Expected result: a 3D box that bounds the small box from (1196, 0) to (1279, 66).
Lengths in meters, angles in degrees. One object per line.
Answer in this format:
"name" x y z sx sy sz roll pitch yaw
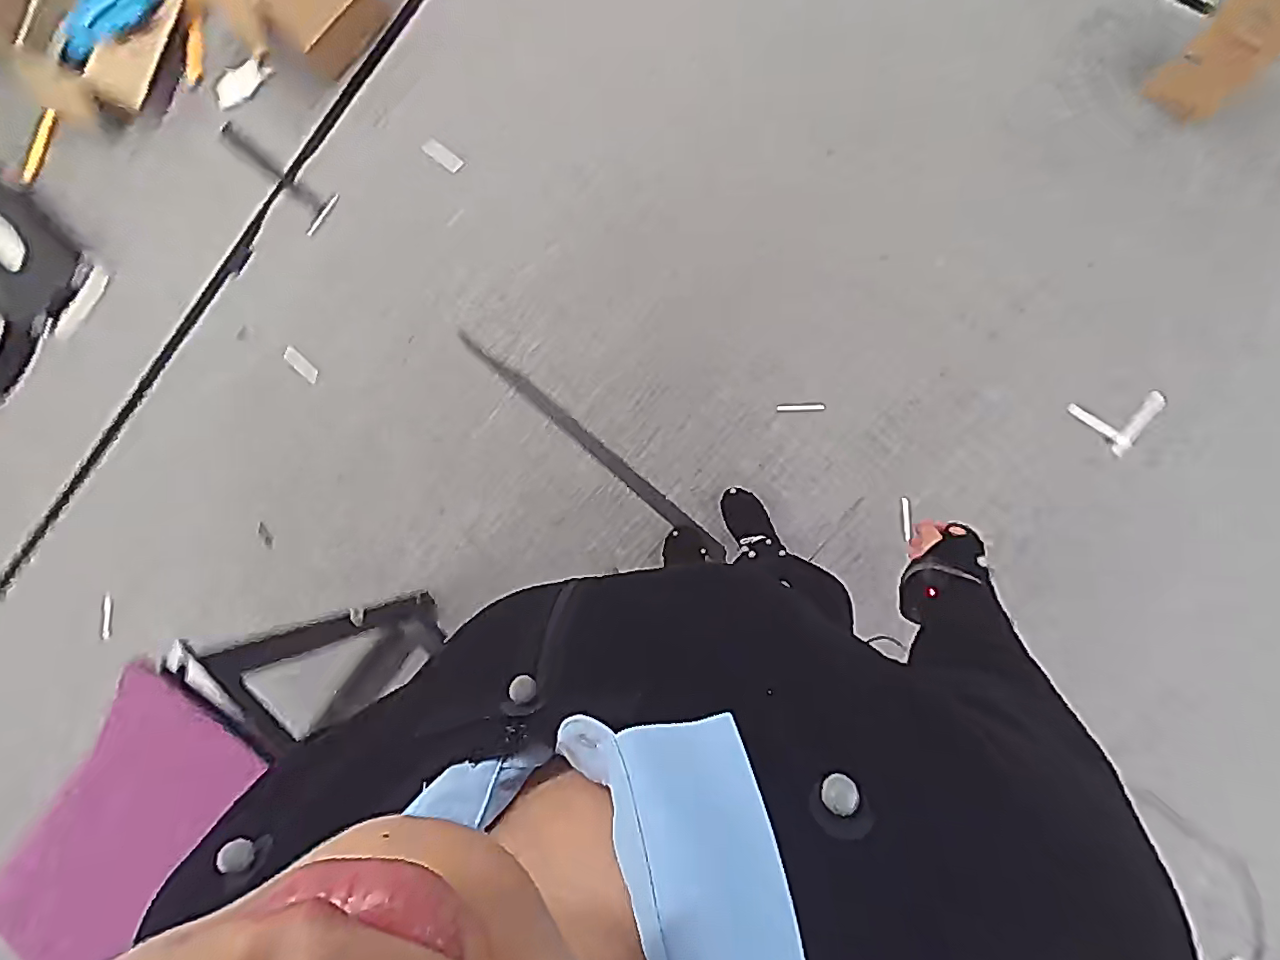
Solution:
"small box" 1.324 -1.018 1.113 0.168 0.176 0.179 43 93 9
